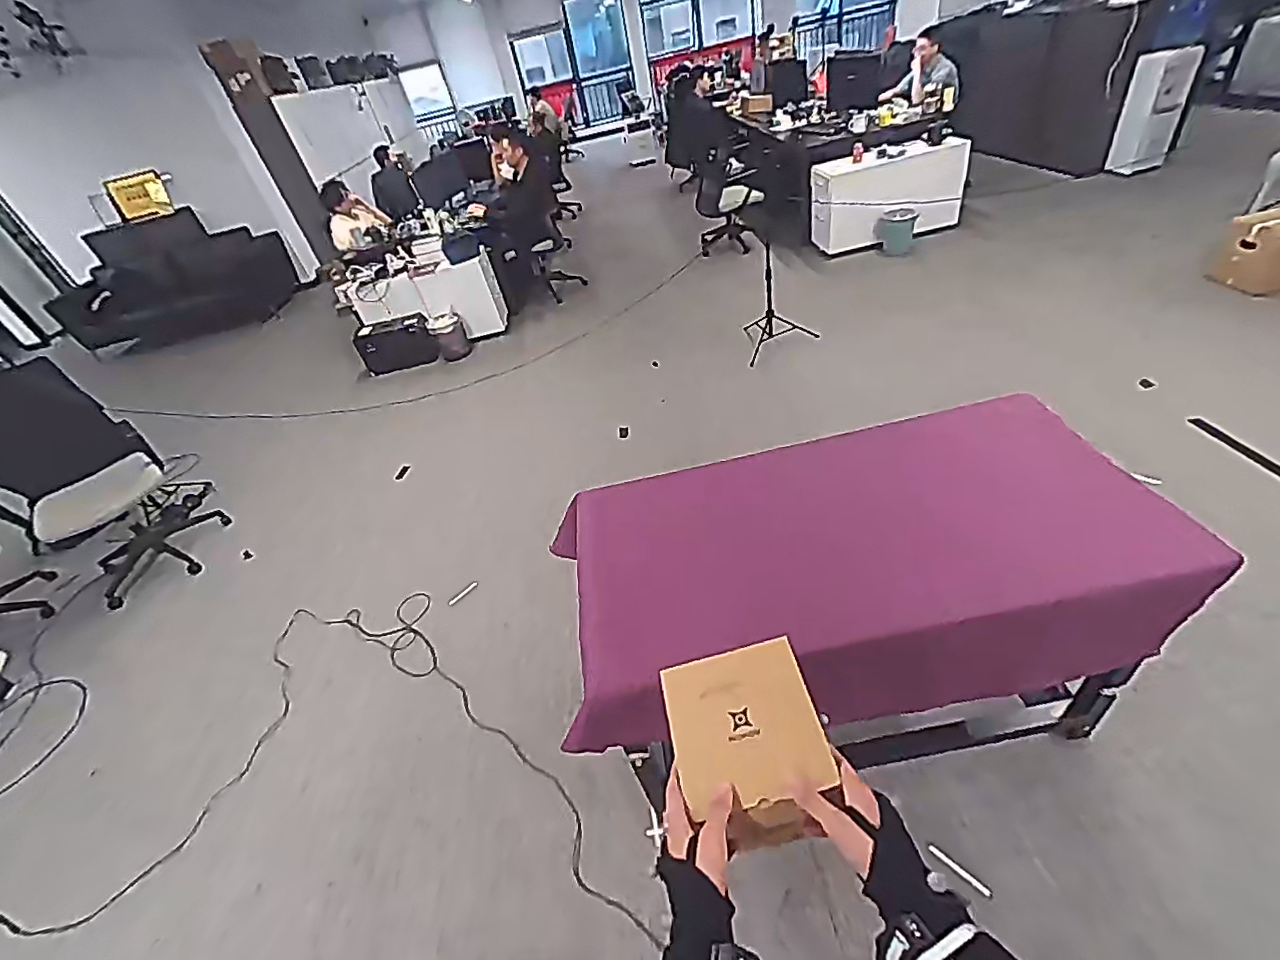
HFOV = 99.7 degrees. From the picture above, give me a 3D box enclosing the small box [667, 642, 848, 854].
[{"bbox_3d":[0.143,0.331,0.658,0.168,0.176,0.179,-16,42,5],"label":"small box"}]
